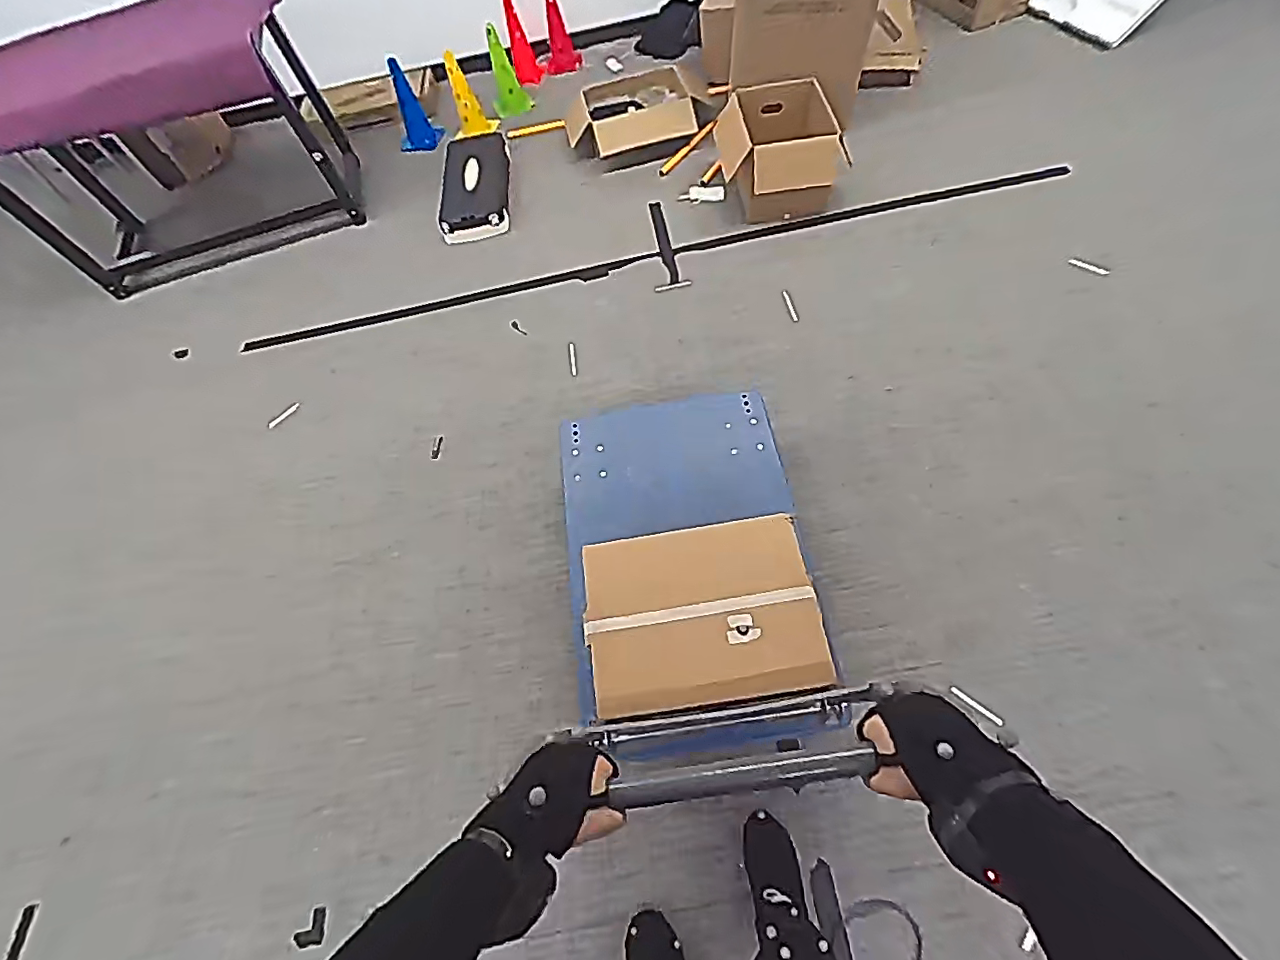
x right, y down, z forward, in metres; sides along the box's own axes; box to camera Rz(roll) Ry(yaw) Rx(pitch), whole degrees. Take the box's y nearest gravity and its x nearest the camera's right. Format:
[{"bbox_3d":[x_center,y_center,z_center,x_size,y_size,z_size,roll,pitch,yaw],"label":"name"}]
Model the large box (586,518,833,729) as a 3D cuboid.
[{"bbox_3d":[0.124,0.309,1.113,0.408,0.320,0.320,-10,63,1],"label":"large box"}]
